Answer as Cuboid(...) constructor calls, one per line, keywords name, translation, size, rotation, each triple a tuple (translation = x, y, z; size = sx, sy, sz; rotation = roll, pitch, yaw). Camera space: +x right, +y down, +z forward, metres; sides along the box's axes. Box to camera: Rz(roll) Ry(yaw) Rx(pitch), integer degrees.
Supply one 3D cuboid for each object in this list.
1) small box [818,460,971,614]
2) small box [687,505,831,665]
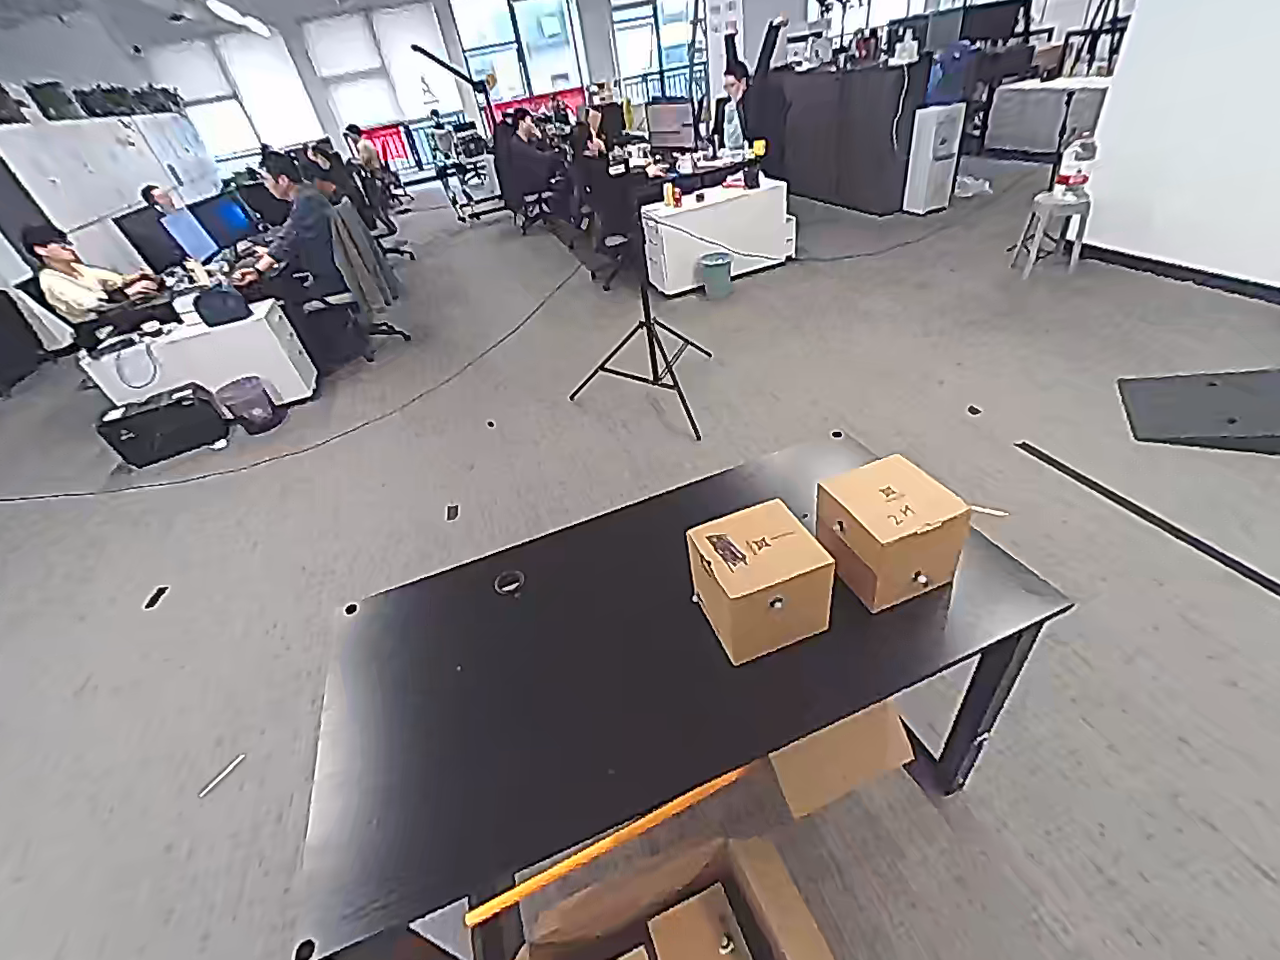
Cuboid(name="small box", translation=(0.424, 0.097, 0.937), size=(0.168, 0.176, 0.179), rotation=(-19, 38, -8))
Cuboid(name="small box", translation=(0.194, 0.175, 0.898), size=(0.179, 0.176, 0.168), rotation=(-18, 38, -9))
